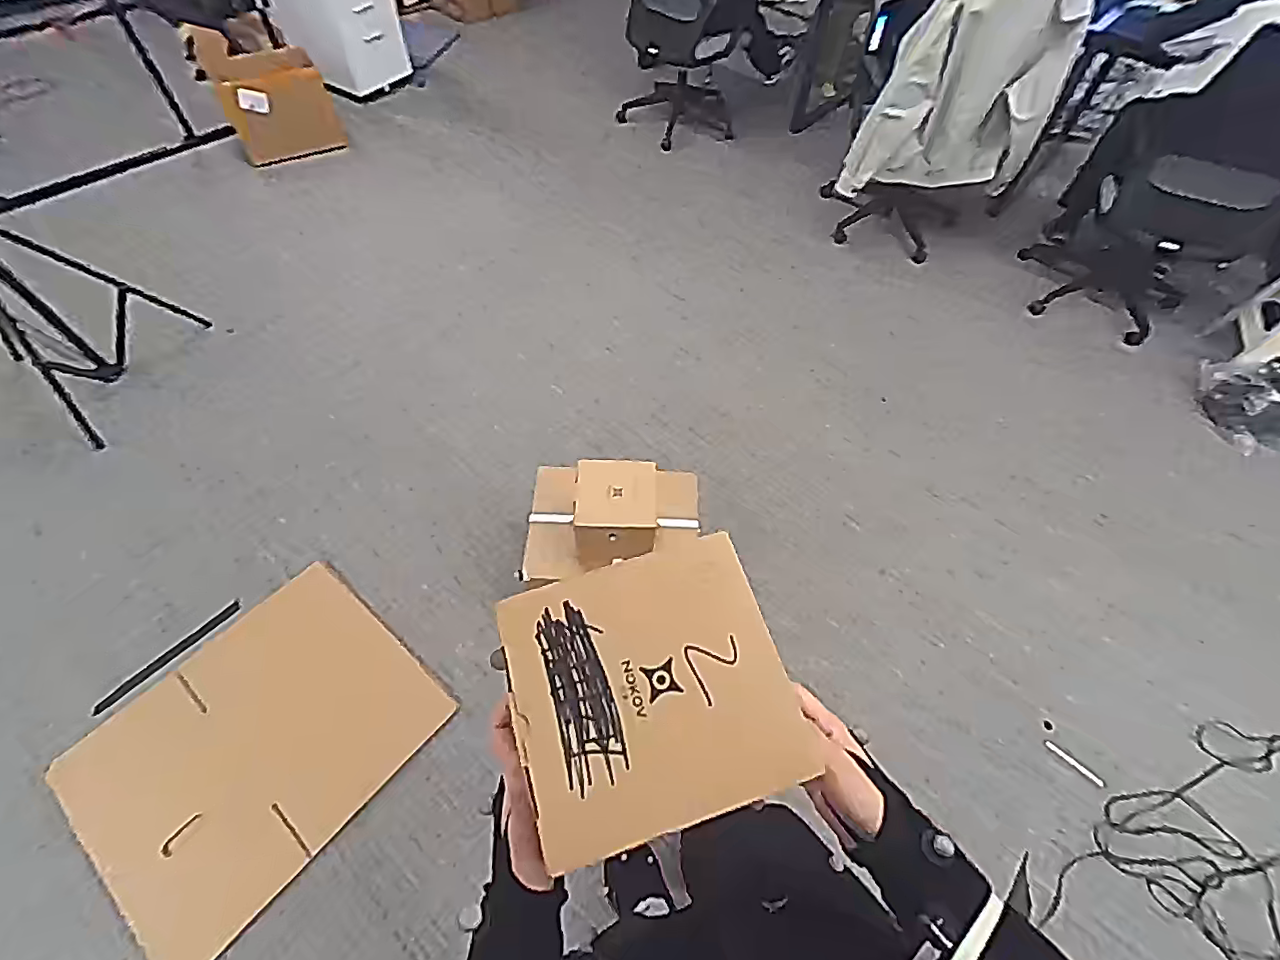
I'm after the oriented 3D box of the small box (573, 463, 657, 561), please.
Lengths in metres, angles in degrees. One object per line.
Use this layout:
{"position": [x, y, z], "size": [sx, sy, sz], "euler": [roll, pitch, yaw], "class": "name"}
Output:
{"position": [-0.054, 0.076, 1.218], "size": [0.179, 0.176, 0.168], "euler": [1, 58, -3], "class": "small box"}
